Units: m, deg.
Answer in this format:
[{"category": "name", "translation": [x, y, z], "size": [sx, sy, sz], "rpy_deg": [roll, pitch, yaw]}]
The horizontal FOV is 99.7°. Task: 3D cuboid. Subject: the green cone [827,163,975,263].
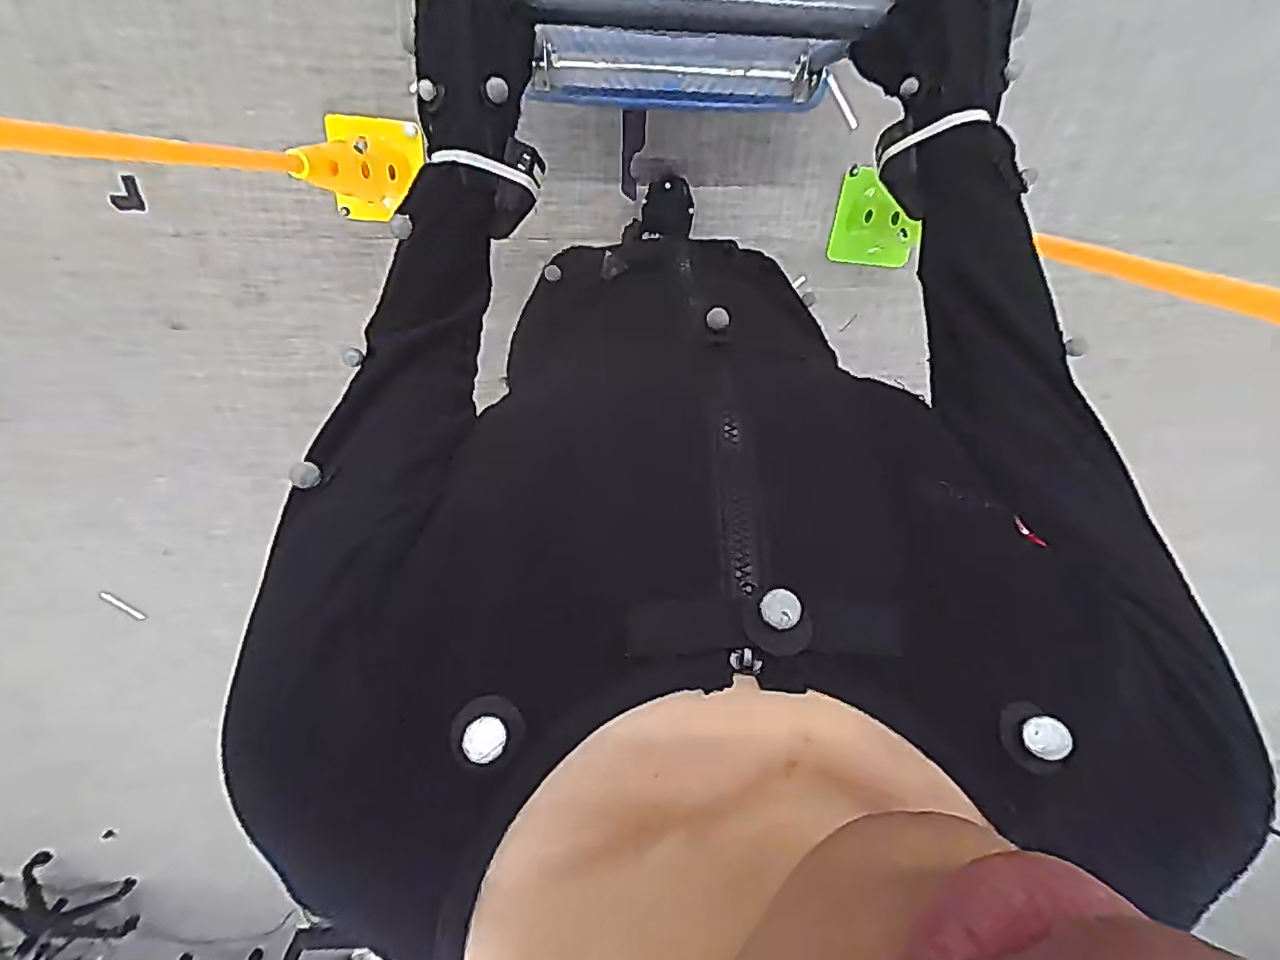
[{"category": "green cone", "translation": [0.561, -0.541, 1.116], "size": [0.202, 0.368, 0.200], "rpy_deg": [3, 118, -5]}]
